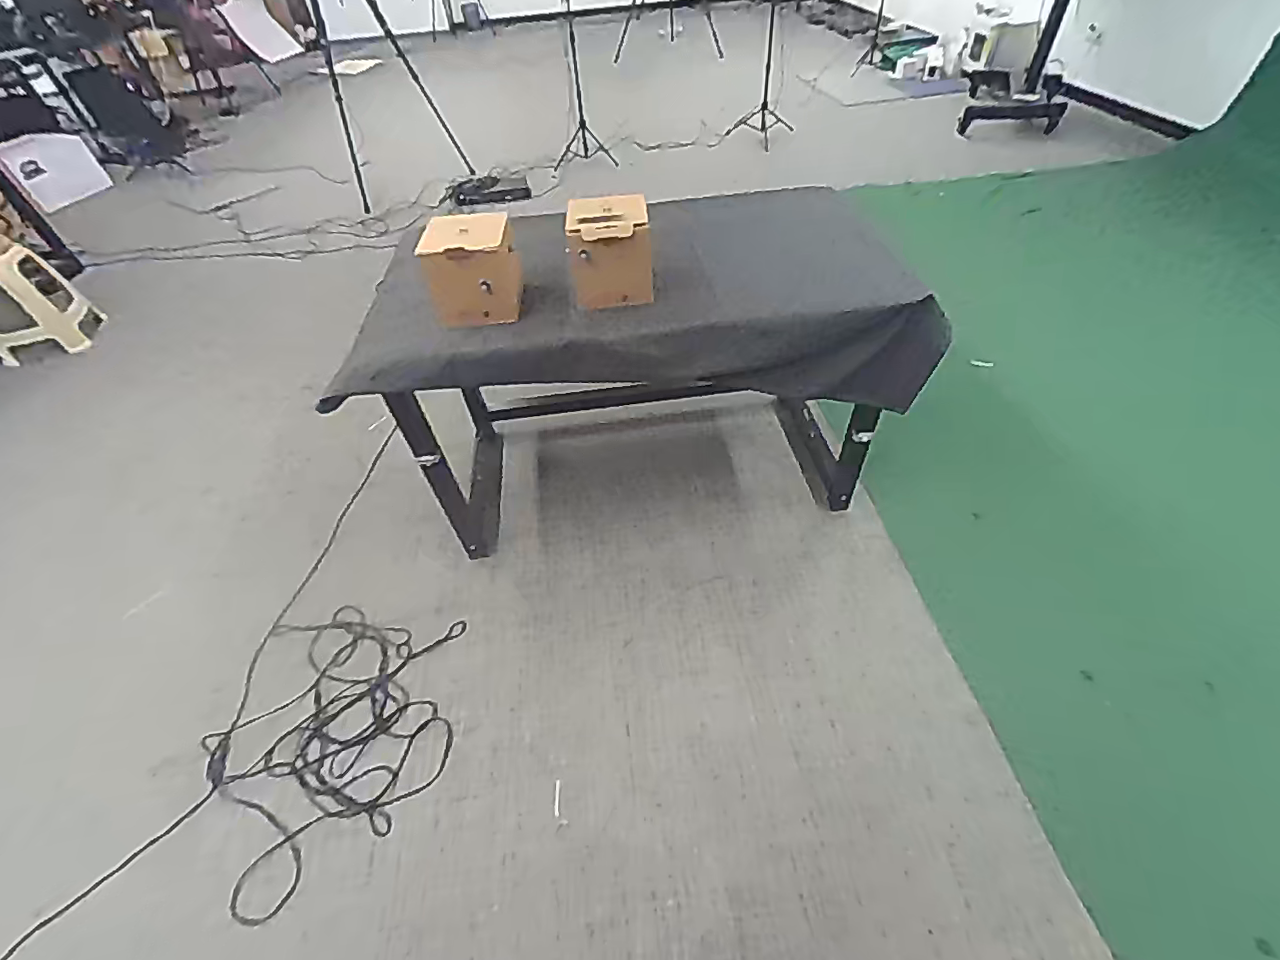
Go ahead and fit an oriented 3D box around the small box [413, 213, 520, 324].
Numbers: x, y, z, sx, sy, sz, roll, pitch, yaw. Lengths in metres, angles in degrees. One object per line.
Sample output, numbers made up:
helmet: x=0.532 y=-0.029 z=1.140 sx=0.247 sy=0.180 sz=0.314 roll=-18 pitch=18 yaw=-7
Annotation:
small box: x=-0.355 y=-0.442 z=1.145 sx=0.168 sy=0.176 sz=0.179 roll=-4 pitch=46 yaw=-1
